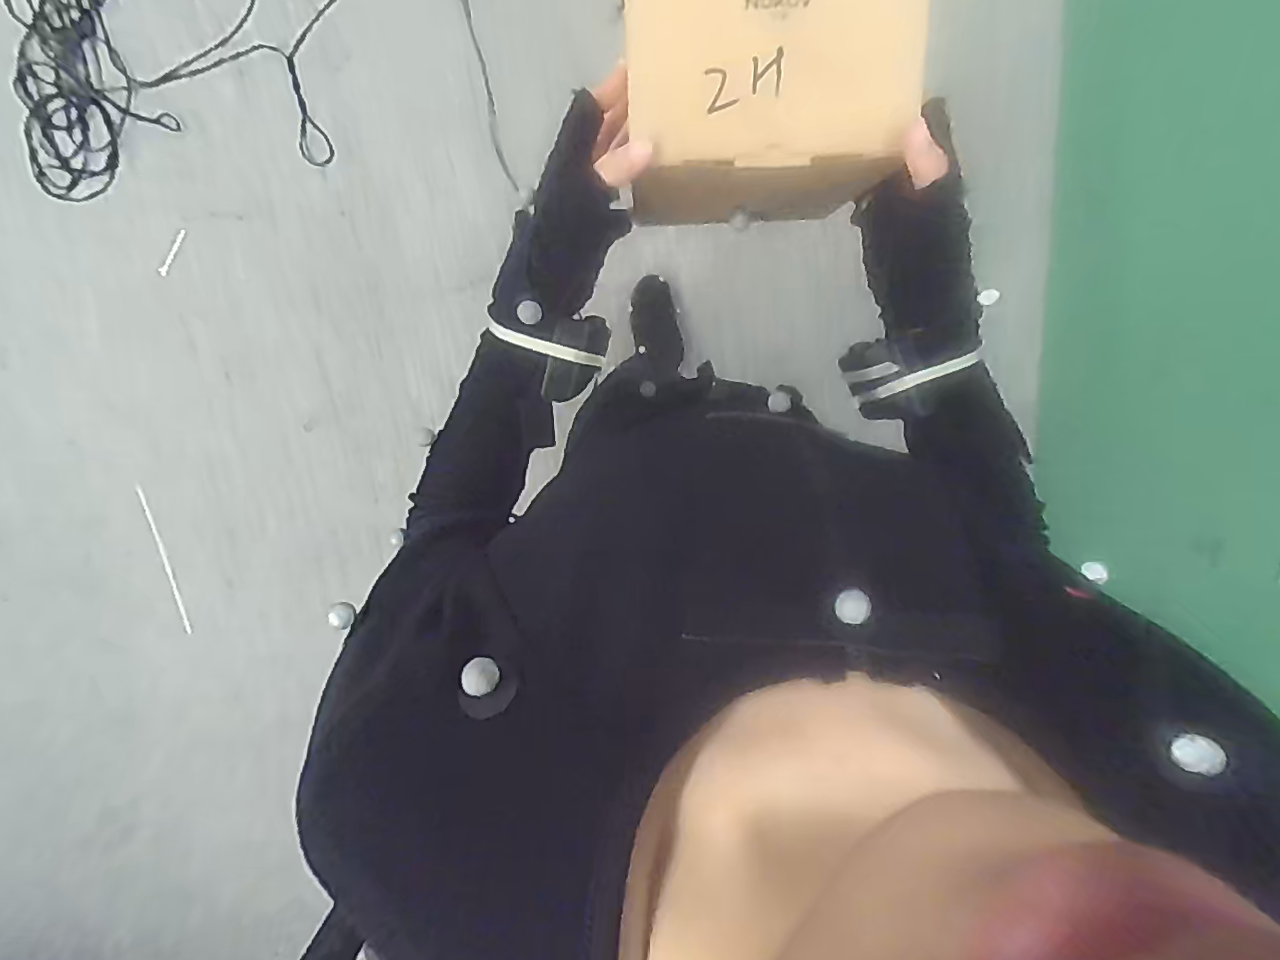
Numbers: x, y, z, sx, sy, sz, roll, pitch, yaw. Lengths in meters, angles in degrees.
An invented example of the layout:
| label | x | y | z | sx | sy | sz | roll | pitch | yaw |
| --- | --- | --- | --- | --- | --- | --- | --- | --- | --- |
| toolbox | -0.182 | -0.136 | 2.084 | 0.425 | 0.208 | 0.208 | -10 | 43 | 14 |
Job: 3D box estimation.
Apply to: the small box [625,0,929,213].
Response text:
| label | x | y | z | sx | sy | sz | roll | pitch | yaw |
| --- | --- | --- | --- | --- | --- | --- | --- | --- | --- |
| small box | 0.073 | -0.297 | 0.363 | 0.168 | 0.176 | 0.179 | -2 | 103 | 2 |
